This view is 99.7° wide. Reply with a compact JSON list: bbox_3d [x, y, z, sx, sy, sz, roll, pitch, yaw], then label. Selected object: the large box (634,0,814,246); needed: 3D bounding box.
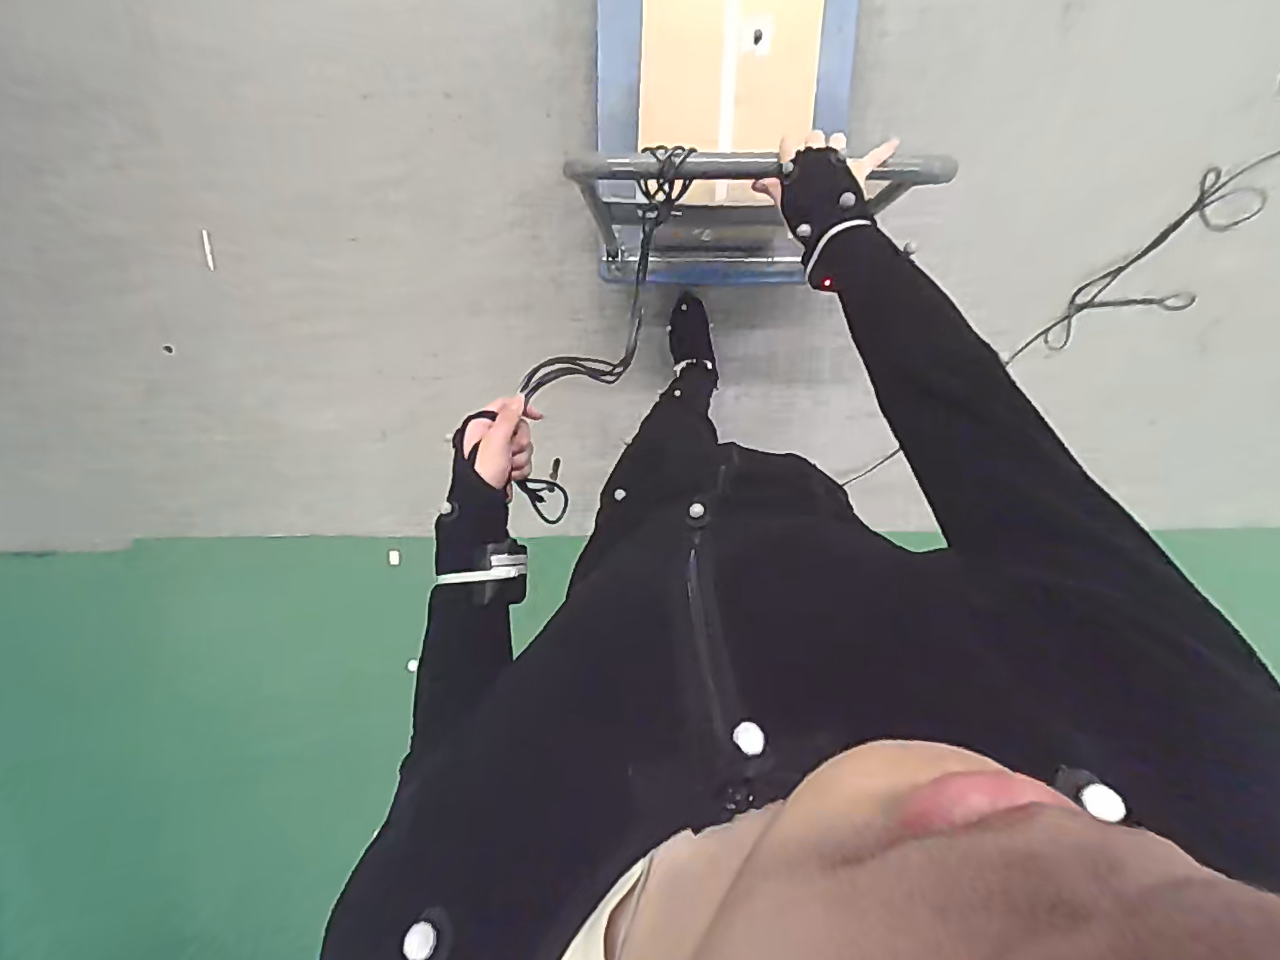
[{"bbox_3d":[0.159,-0.731,1.123,0.320,0.320,0.408,3,101,3],"label":"large box"}]
